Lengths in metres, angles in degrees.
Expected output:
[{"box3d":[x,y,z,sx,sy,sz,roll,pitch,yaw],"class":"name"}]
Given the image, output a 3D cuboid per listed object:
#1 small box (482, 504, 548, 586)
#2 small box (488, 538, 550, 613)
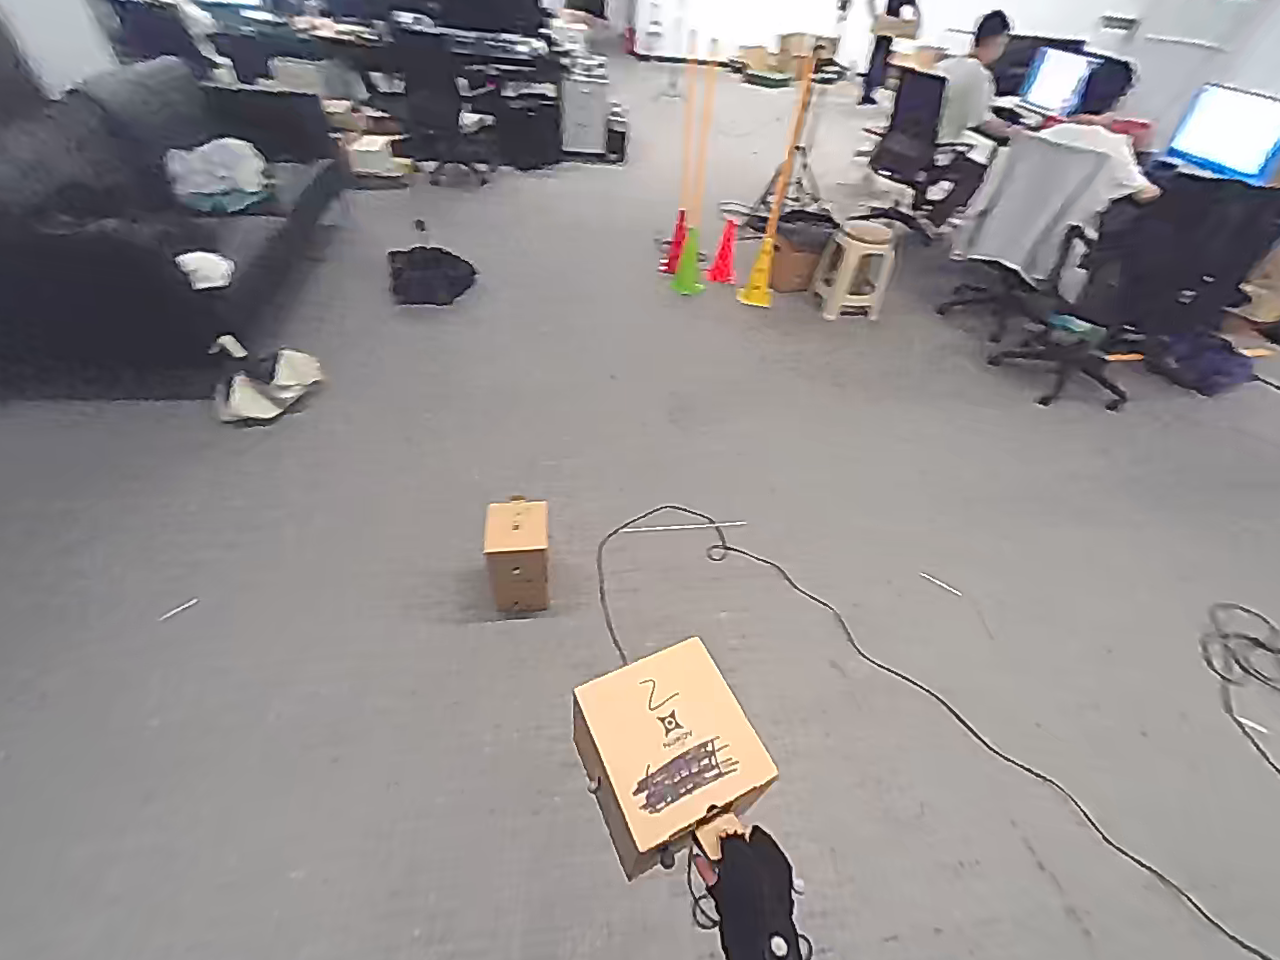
[{"box3d":[-0.350,0.189,1.545,0.168,0.176,0.179,-2,45,-8],"class":"small box"},{"box3d":[-0.367,0.291,1.674,0.168,0.176,0.179,0,46,-5],"class":"small box"}]
